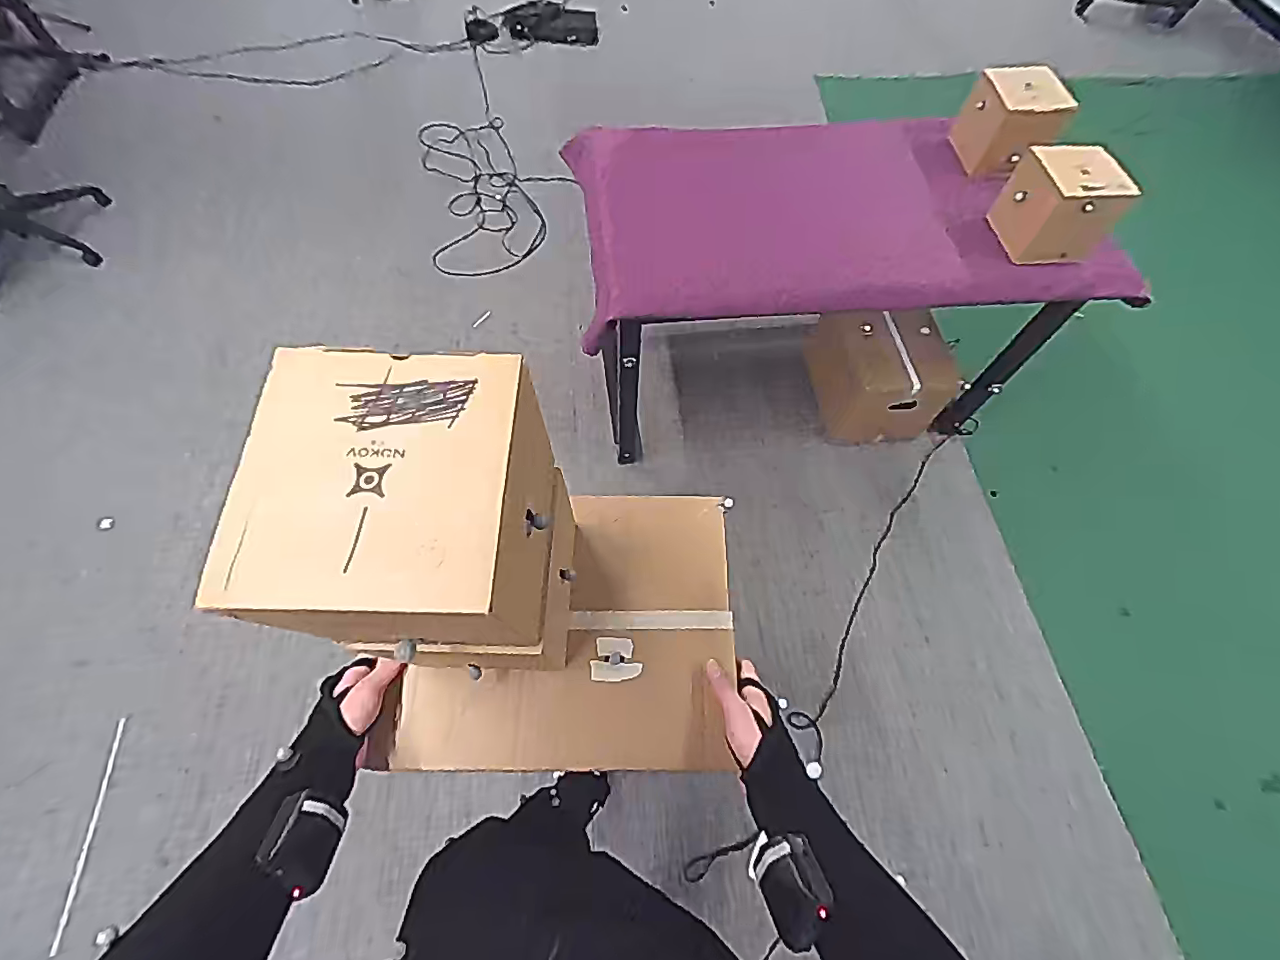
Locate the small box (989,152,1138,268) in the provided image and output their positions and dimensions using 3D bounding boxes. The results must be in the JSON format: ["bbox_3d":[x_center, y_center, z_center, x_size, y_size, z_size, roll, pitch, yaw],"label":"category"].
[{"bbox_3d":[0.926,-0.600,1.206,0.168,0.176,0.179,-3,60,-2],"label":"small box"}]

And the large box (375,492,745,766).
[{"bbox_3d":[-0.092,0.217,0.770,0.408,0.320,0.320,0,67,-2],"label":"large box"}]

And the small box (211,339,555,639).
[{"bbox_3d":[-0.160,0.017,0.410,0.168,0.176,0.179,1,67,0],"label":"small box"}]

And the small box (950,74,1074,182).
[{"bbox_3d":[0.915,-0.878,1.353,0.168,0.176,0.179,-4,63,-1],"label":"small box"}]
